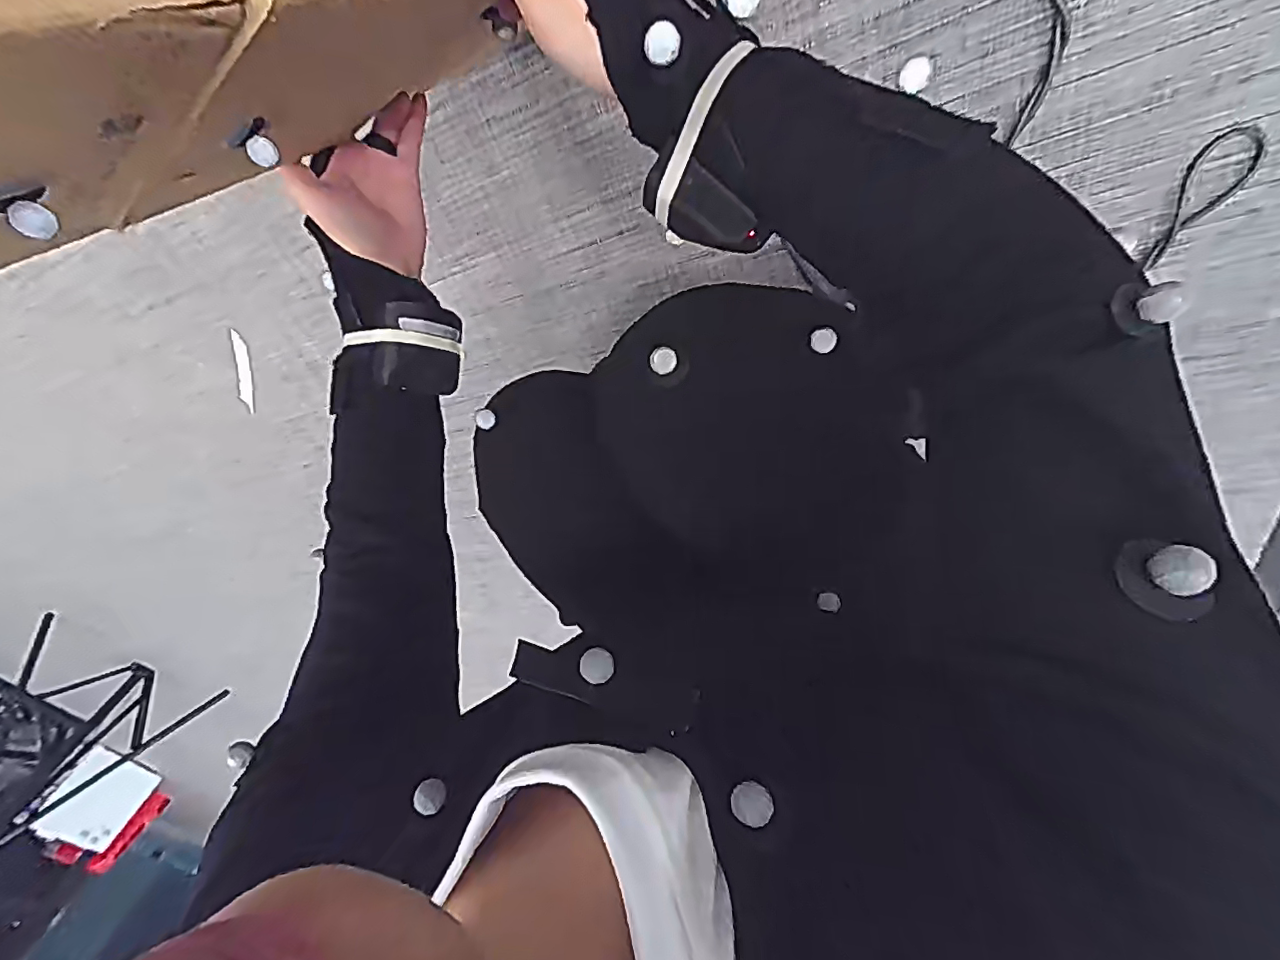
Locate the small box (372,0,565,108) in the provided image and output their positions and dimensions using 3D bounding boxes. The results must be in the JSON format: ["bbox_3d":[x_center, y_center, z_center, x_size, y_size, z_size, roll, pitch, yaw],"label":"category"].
[{"bbox_3d":[-0.137,-0.358,0.317,0.179,0.176,0.168,-7,129,33],"label":"small box"}]

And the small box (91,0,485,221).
[{"bbox_3d":[-0.188,-0.241,0.213,0.179,0.176,0.168,-10,129,34],"label":"small box"}]

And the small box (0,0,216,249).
[{"bbox_3d":[-0.248,-0.135,0.104,0.168,0.176,0.179,-10,128,35],"label":"small box"}]
